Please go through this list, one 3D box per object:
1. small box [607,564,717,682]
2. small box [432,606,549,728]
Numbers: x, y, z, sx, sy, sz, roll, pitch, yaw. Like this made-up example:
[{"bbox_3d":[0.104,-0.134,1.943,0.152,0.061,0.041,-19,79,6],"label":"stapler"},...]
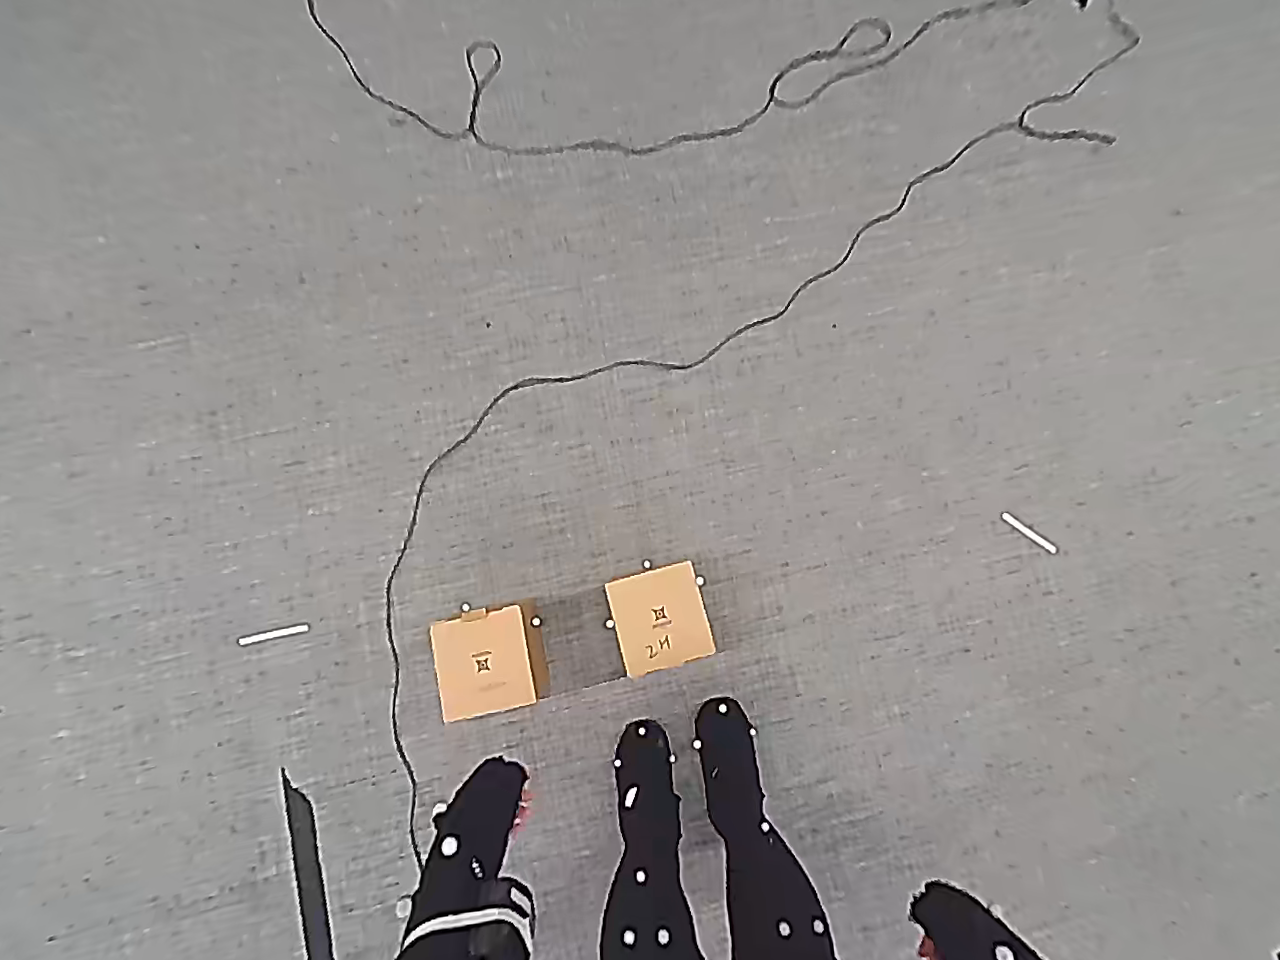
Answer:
[{"bbox_3d":[0.035,0.267,1.046,0.168,0.176,0.179,-15,84,-3],"label":"small box"},{"bbox_3d":[-0.277,0.342,1.029,0.168,0.176,0.179,-11,84,-2],"label":"small box"}]
